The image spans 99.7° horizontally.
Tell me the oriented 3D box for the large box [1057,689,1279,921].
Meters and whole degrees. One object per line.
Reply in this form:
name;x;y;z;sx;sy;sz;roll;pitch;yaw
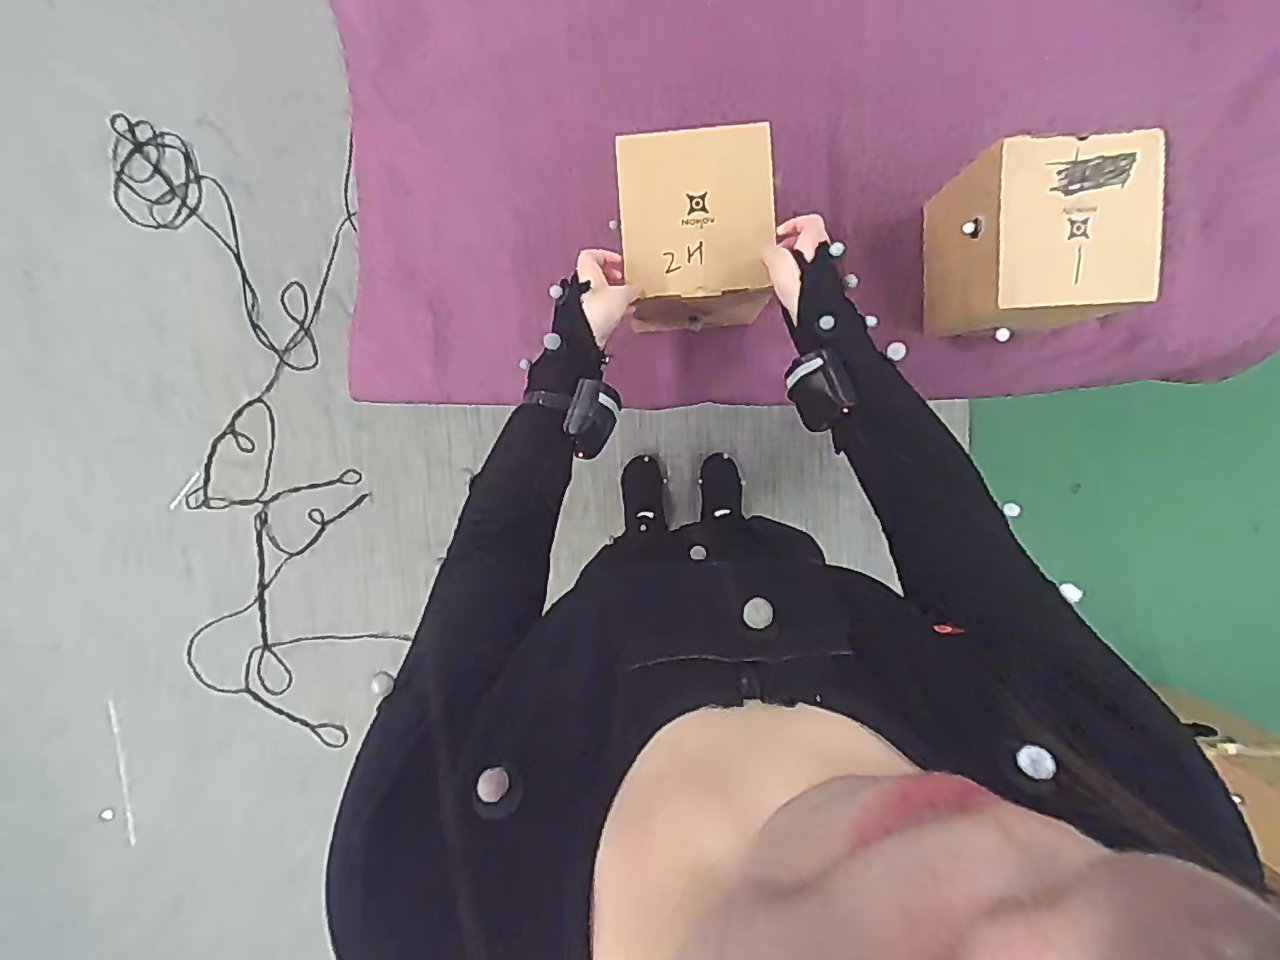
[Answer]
large box;1.310;0.782;1.351;0.320;0.320;0.408;-1;96;3

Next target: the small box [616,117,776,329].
small box;0.061;-0.291;0.647;0.168;0.176;0.179;-3;93;3

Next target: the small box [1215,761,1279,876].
small box;1.349;0.697;1.098;0.179;0.176;0.168;0;96;2

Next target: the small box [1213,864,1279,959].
small box;1.358;0.946;1.117;0.168;0.176;0.179;4;95;1

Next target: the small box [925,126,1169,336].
small box;0.455;-0.275;0.633;0.168;0.176;0.179;-2;95;3
